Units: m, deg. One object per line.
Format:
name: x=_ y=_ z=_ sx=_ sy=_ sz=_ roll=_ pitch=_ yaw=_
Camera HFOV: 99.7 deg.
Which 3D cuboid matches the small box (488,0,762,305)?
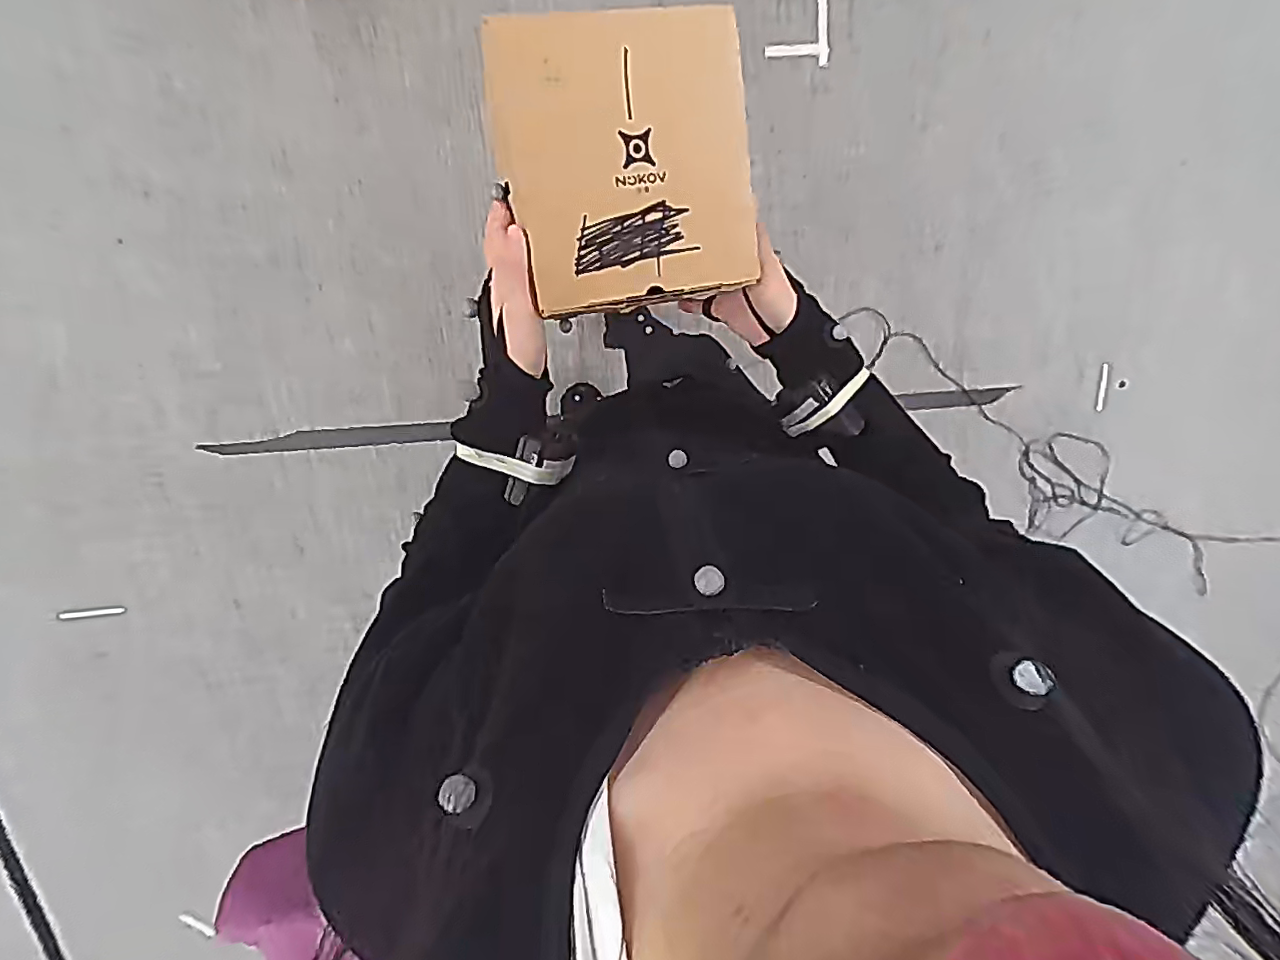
small box: x=-0.019 y=-0.240 z=0.433 sx=0.168 sy=0.176 sz=0.179 roll=-13 pitch=106 yaw=-12
